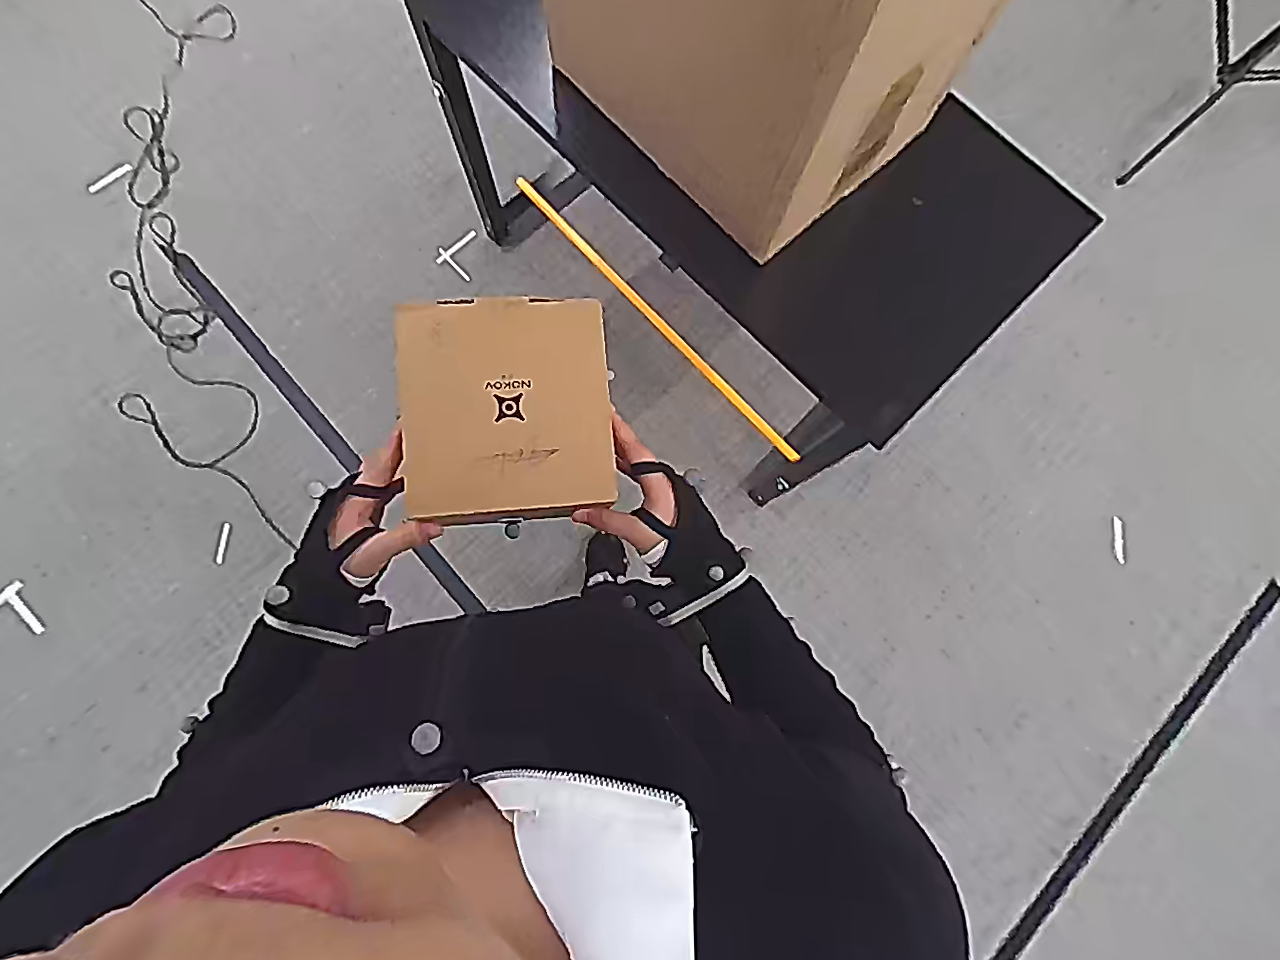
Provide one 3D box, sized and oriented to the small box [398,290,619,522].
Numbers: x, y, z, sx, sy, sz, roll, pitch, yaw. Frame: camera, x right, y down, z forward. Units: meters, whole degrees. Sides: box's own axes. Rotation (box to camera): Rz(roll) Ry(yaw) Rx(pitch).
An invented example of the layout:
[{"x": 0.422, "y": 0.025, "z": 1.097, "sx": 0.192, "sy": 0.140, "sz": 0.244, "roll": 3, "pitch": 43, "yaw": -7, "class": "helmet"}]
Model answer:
[{"x": -0.117, "y": -0.057, "z": 0.505, "sx": 0.168, "sy": 0.176, "sz": 0.179, "roll": -4, "pitch": 84, "yaw": -9, "class": "small box"}]
